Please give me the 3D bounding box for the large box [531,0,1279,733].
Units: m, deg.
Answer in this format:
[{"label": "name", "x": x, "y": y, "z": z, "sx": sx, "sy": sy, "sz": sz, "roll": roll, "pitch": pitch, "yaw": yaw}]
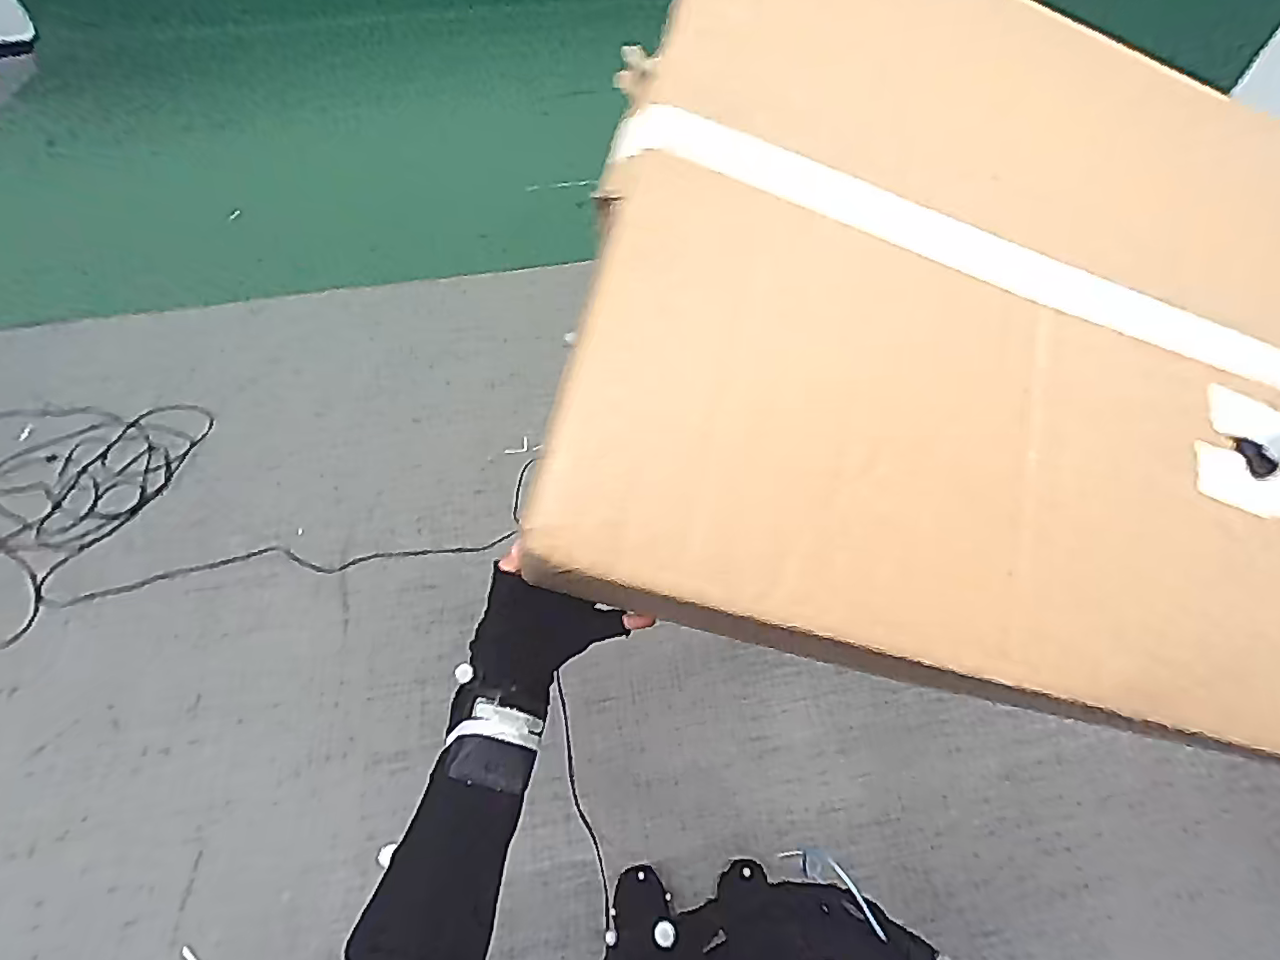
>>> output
[{"label": "large box", "x": 0.159, "y": -0.042, "z": 0.376, "sx": 0.408, "sy": 0.320, "sz": 0.320, "roll": 16, "pitch": 76, "yaw": -10}]
